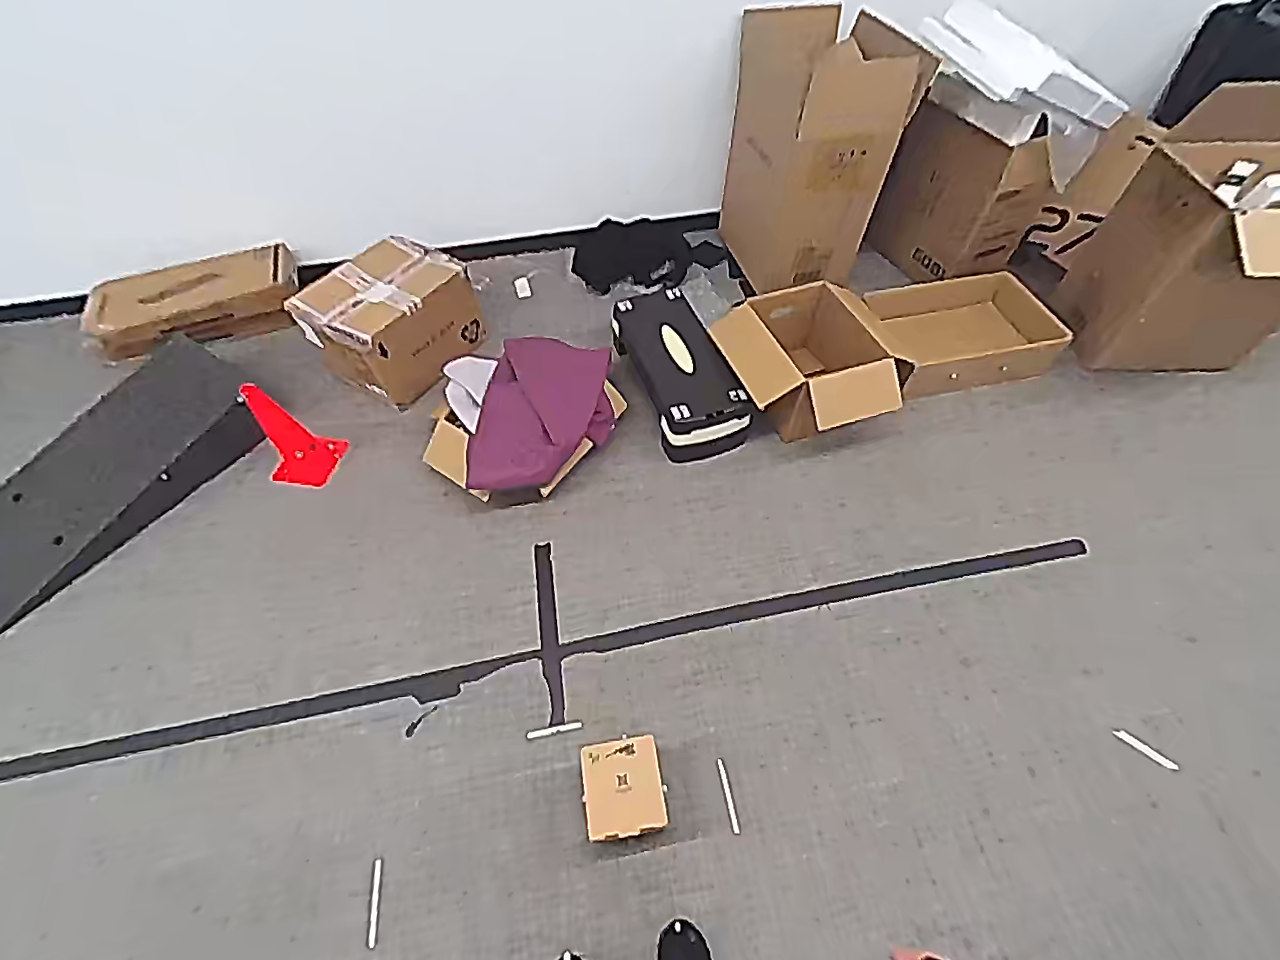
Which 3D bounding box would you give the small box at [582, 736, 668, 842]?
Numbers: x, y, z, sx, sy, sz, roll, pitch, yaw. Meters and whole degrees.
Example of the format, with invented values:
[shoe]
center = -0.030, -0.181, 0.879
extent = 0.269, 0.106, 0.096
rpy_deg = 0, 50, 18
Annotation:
[small box]
center = -0.031, 0.690, 1.205
extent = 0.168, 0.176, 0.179
rpy_deg = -8, 56, -4
